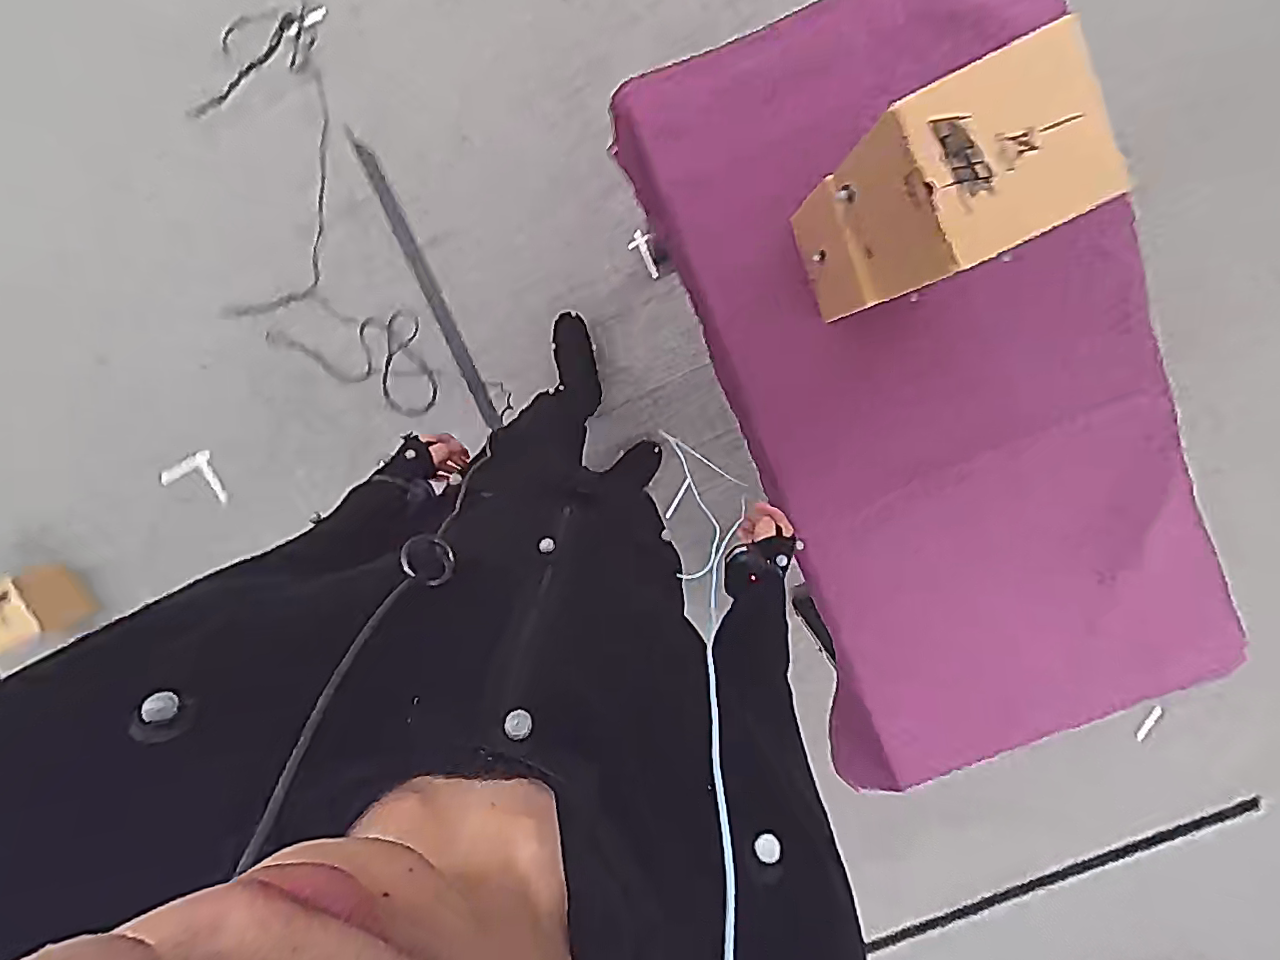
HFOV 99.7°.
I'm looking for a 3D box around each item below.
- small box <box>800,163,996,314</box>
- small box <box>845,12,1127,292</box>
[{"bbox_3d":[0.334,-0.340,0.739,0.179,0.176,0.168,-21,99,4],"label":"small box"},{"bbox_3d":[0.342,-0.322,0.576,0.179,0.176,0.168,-25,99,4],"label":"small box"}]
